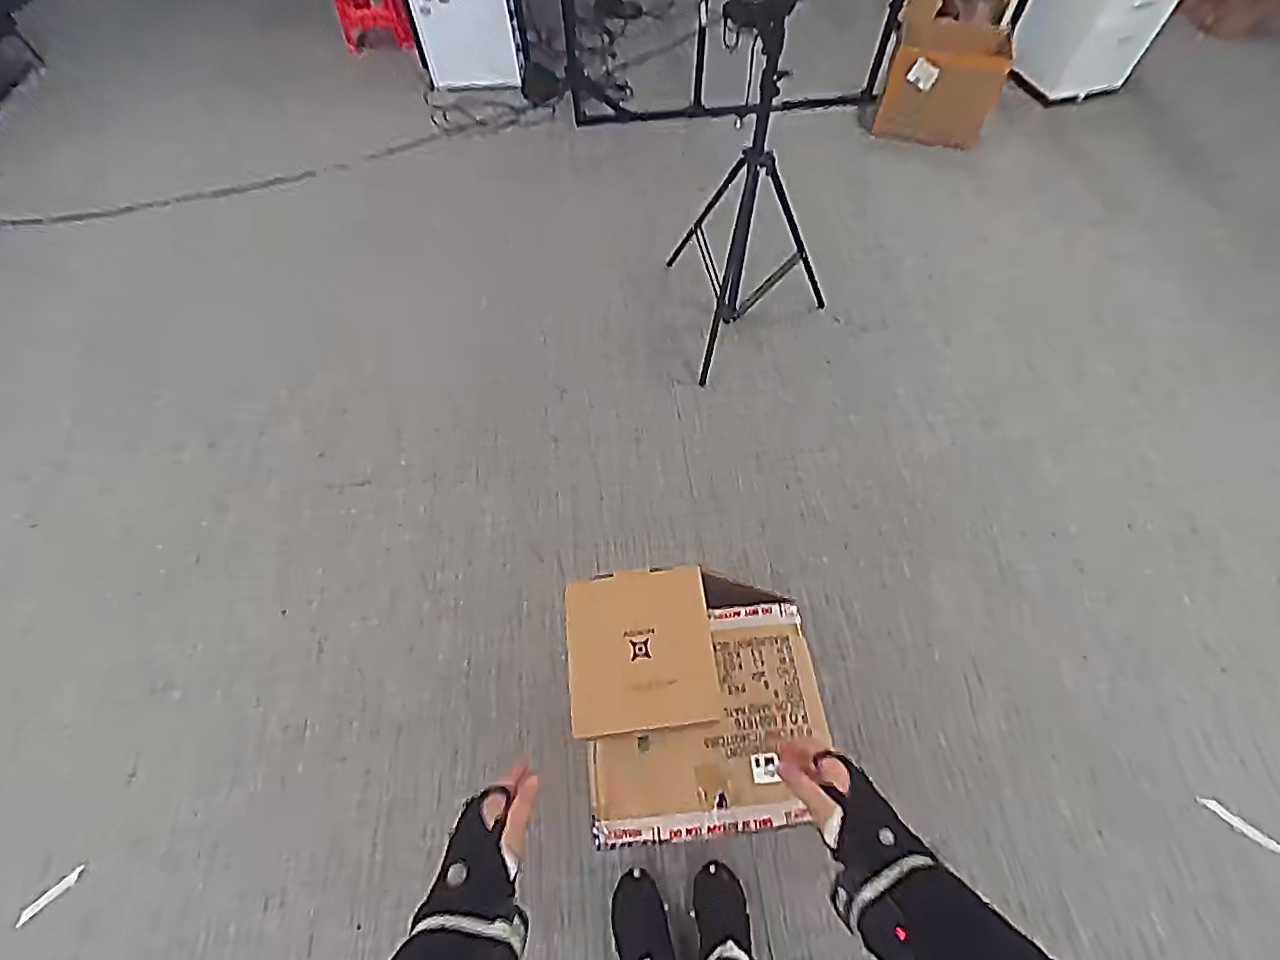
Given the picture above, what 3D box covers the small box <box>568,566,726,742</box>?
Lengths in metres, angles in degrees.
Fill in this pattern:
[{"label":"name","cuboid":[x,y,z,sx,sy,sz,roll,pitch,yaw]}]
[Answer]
[{"label":"small box","cuboid":[0.005,0.225,0.684,0.168,0.176,0.179,-8,64,0]}]
